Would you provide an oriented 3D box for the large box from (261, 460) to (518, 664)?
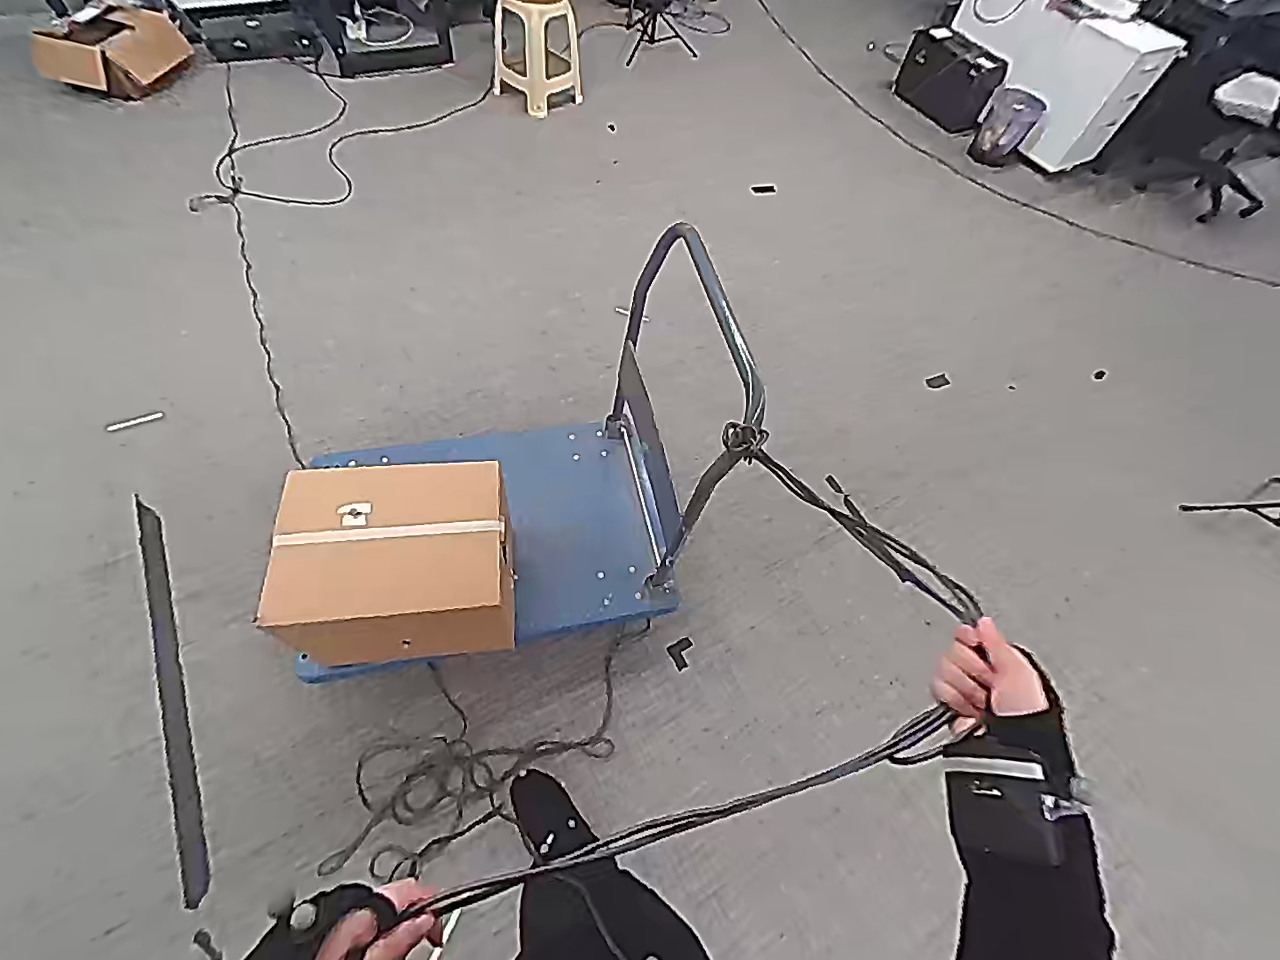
[{"bbox_3d":[-0.478,0.179,1.137,0.408,0.320,0.320,-4,59,-9],"label":"large box"}]
